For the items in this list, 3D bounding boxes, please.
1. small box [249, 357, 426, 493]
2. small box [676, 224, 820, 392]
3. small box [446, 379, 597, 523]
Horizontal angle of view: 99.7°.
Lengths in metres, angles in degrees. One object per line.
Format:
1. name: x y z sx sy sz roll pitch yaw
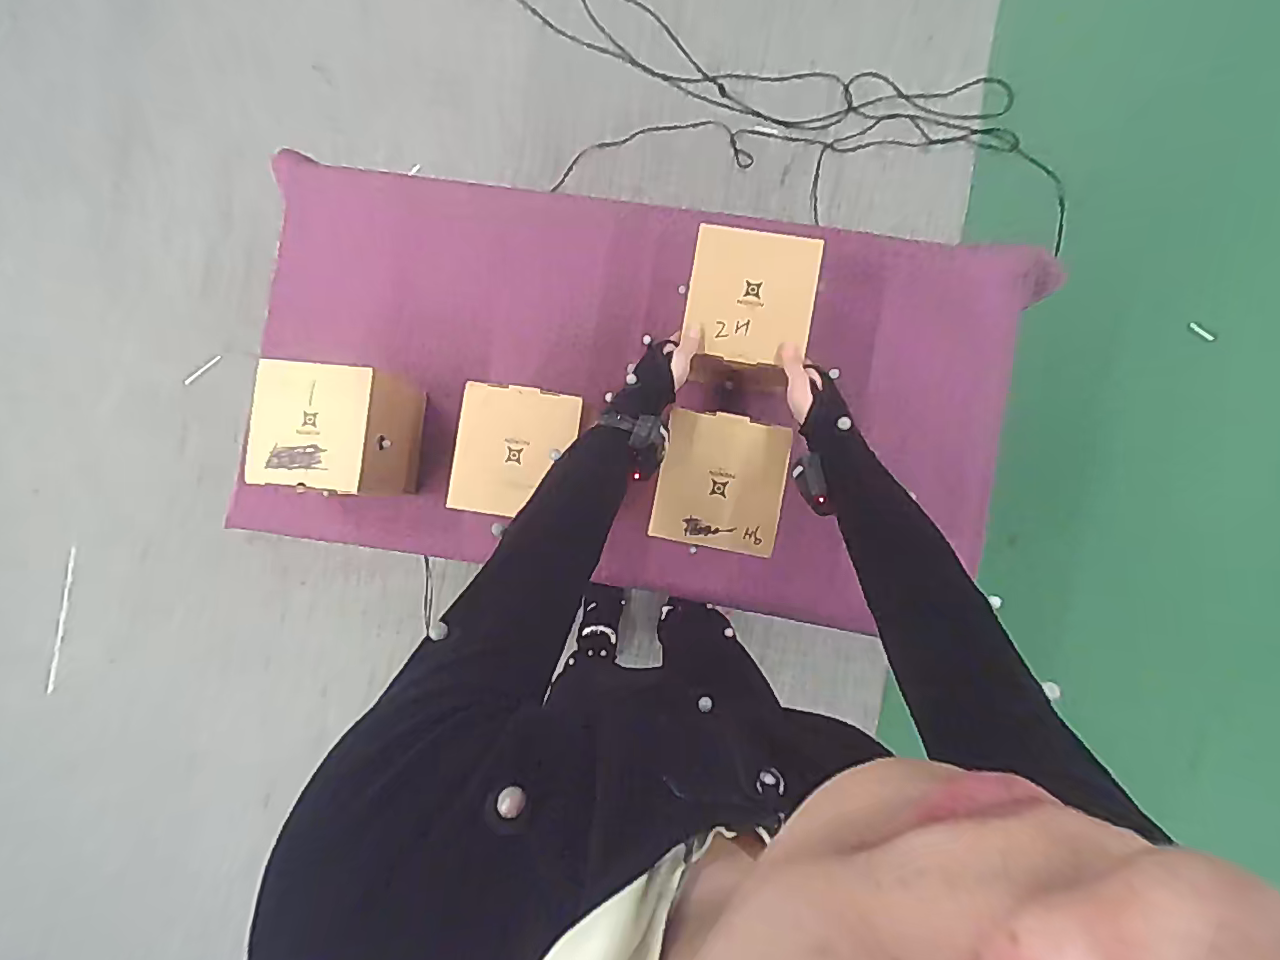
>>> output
1. small box: -0.450 -0.075 0.830 0.168 0.176 0.179 6 87 4
2. small box: 0.147 -0.240 0.792 0.168 0.176 0.179 11 90 5
3. small box: -0.166 -0.039 0.813 0.168 0.176 0.179 9 90 5
